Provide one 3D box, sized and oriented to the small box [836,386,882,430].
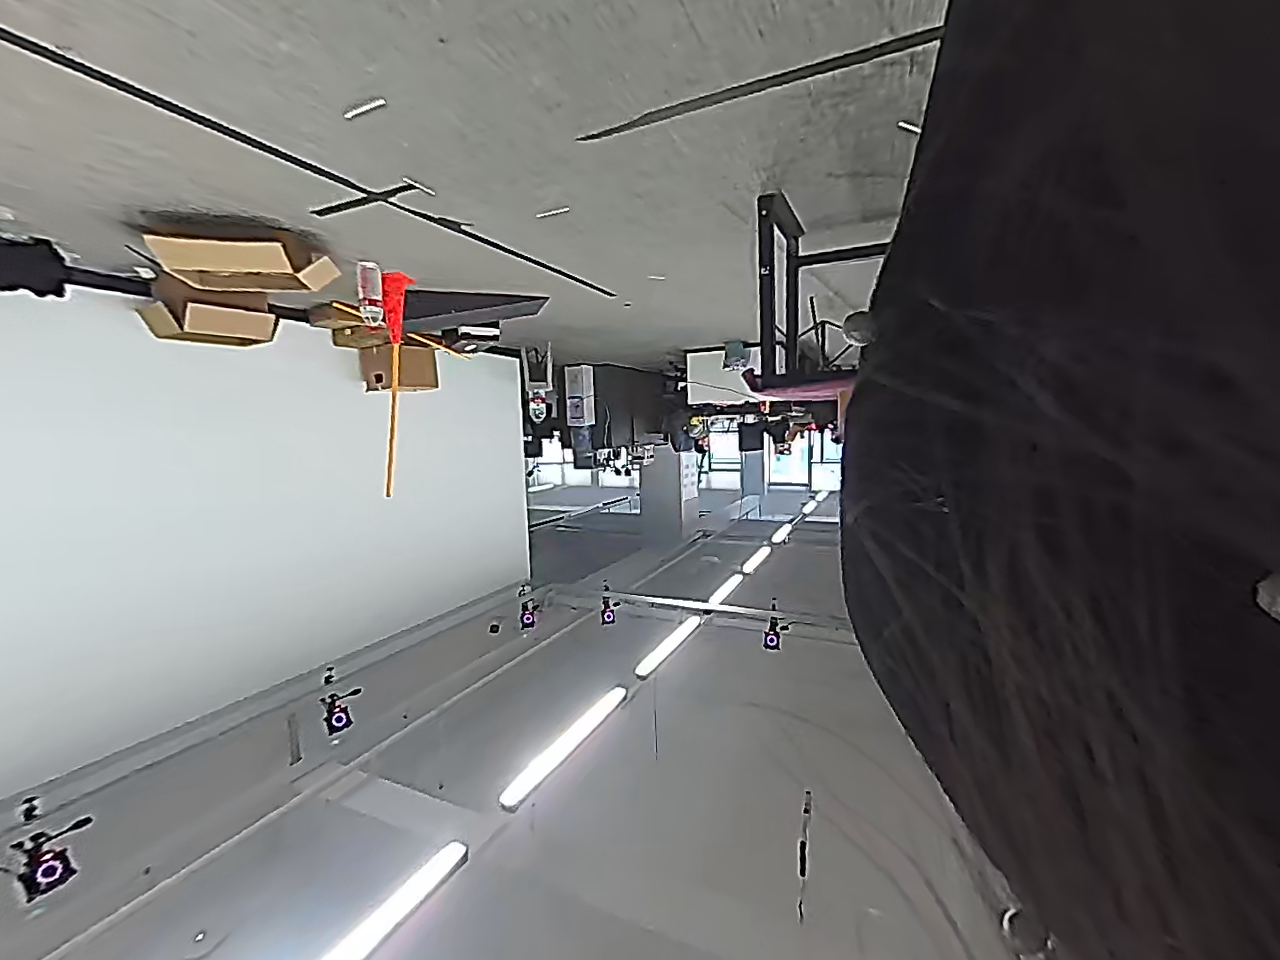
[{"bbox_3d":[0.886,-0.293,2.191,0.168,0.176,0.179,-1,-174,19],"label":"small box"}]
